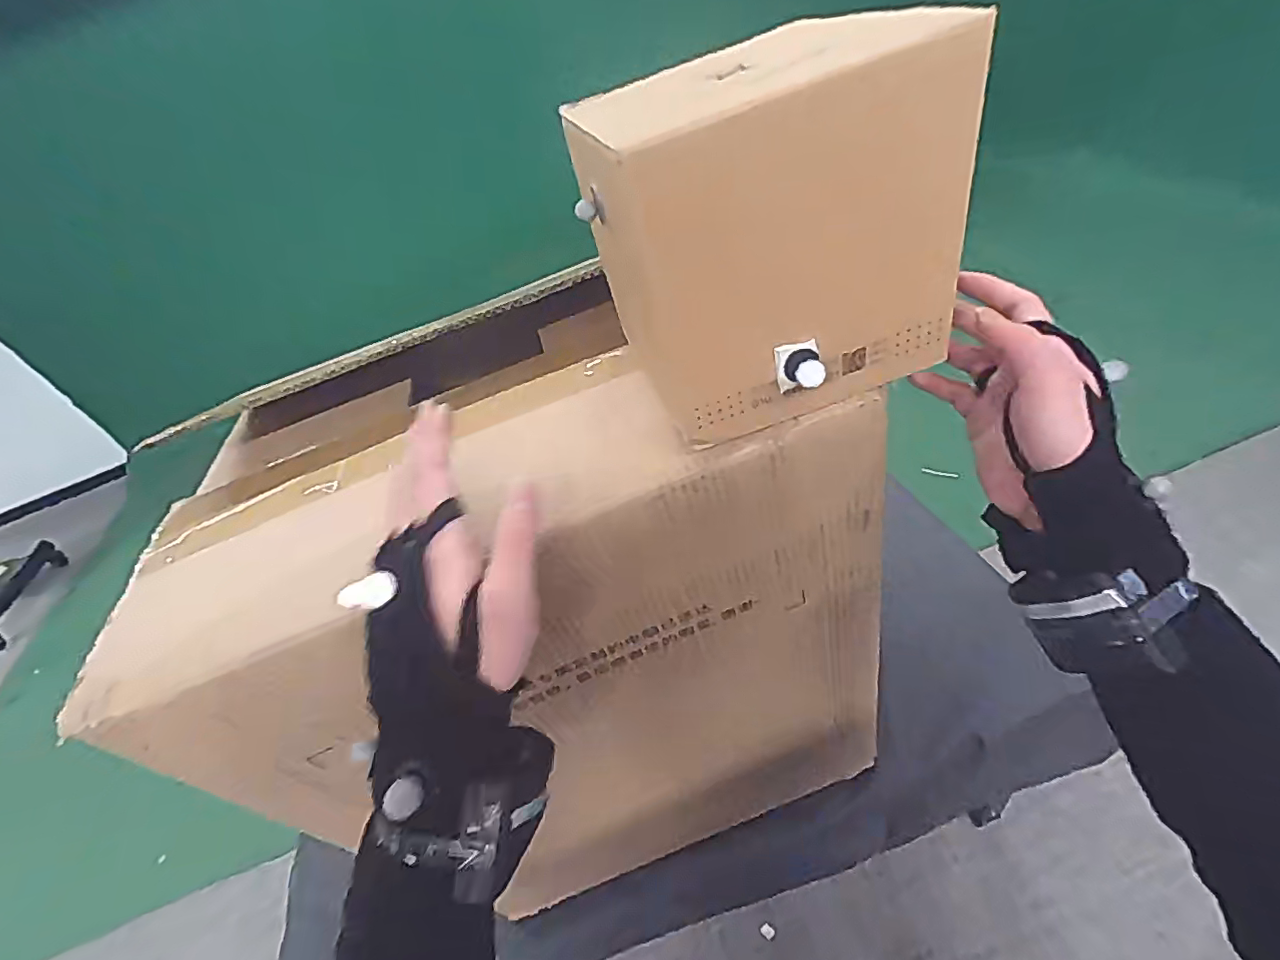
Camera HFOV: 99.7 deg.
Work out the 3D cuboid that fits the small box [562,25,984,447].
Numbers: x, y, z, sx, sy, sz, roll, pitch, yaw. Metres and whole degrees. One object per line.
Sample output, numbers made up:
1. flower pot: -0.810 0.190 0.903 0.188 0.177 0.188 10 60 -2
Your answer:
1. small box: 0.067 -0.150 0.339 0.168 0.176 0.179 -22 42 -2
